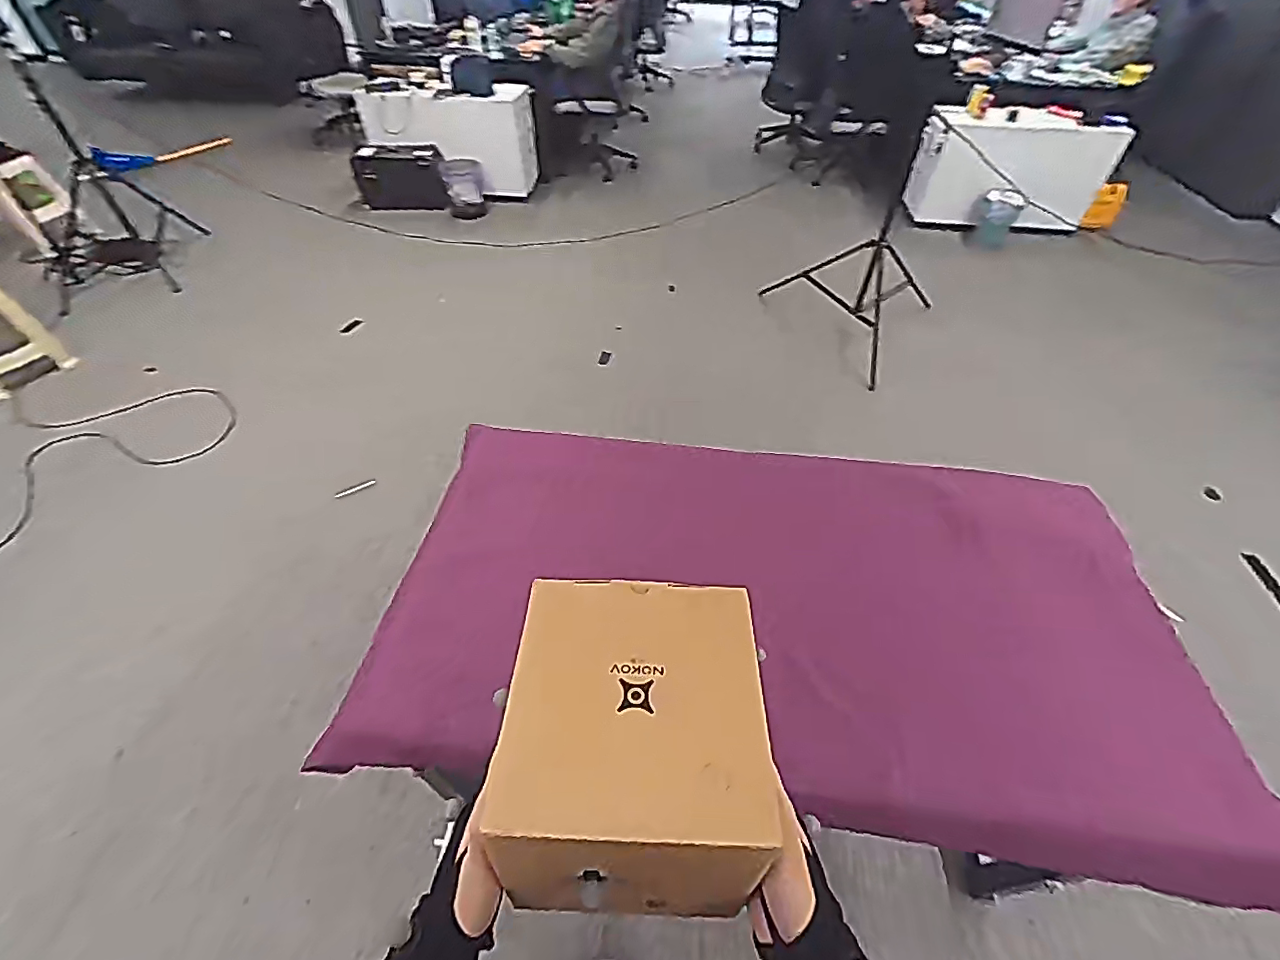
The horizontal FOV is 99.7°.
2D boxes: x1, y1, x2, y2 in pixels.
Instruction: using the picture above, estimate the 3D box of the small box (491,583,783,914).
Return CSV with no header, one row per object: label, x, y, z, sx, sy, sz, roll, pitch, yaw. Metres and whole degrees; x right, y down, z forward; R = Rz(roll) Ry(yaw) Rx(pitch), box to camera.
small box,0.000,0.202,0.409,0.168,0.176,0.179,3,40,0
